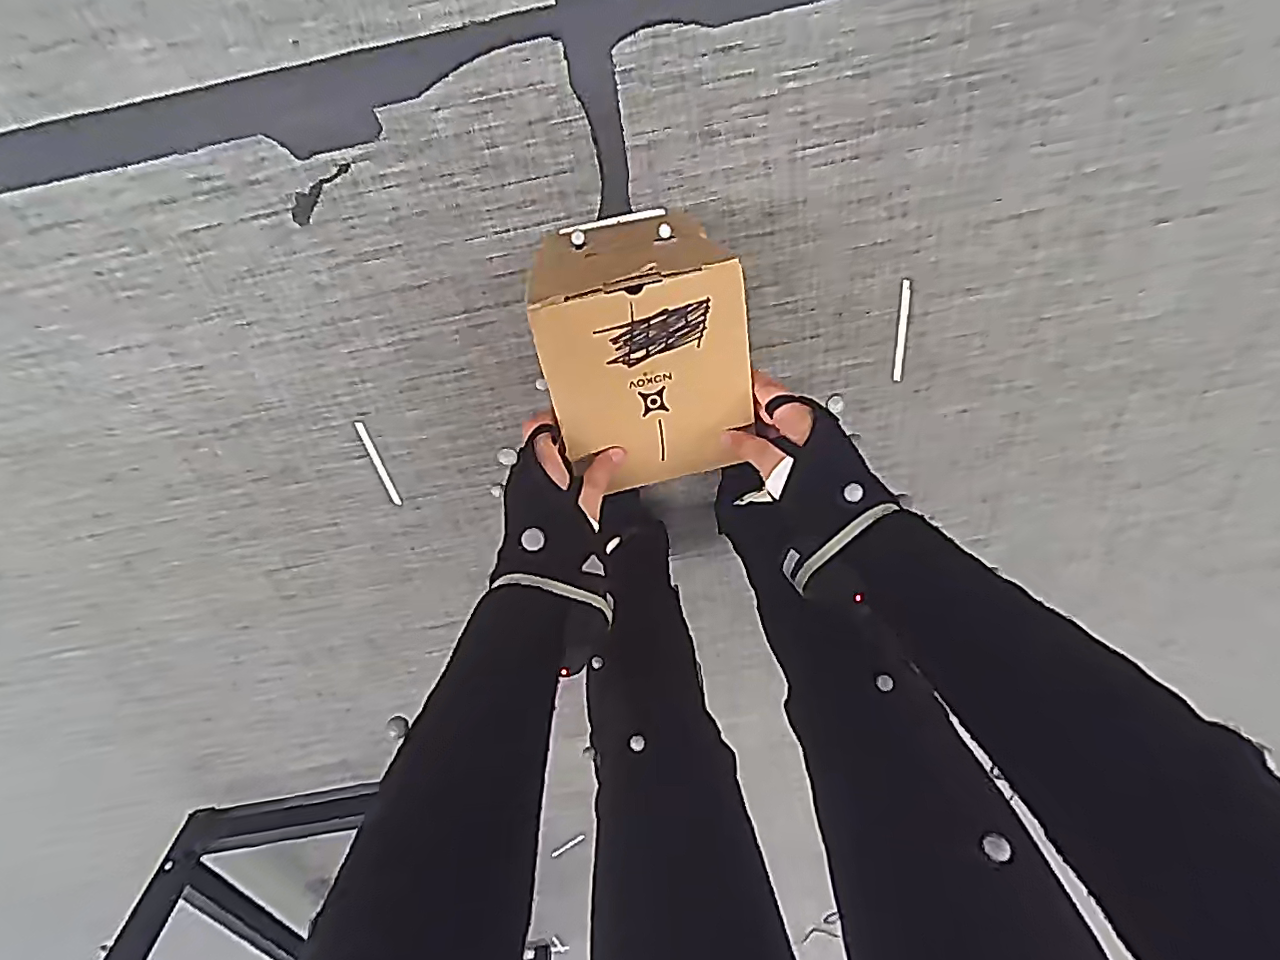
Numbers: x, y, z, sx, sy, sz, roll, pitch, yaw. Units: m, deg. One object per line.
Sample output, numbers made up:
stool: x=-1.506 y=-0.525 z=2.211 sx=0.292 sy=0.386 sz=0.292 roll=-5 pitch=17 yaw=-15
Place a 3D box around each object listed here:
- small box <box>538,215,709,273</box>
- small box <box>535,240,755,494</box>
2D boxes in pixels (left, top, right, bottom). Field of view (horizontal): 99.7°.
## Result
small box: x=-0.013 y=-0.209 z=0.650 sx=0.179 sy=0.176 sz=0.168 roll=-10 pitch=124 yaw=0
small box: x=0.001 y=-0.116 z=0.510 sx=0.168 sy=0.176 sz=0.179 roll=-12 pitch=124 yaw=-1
